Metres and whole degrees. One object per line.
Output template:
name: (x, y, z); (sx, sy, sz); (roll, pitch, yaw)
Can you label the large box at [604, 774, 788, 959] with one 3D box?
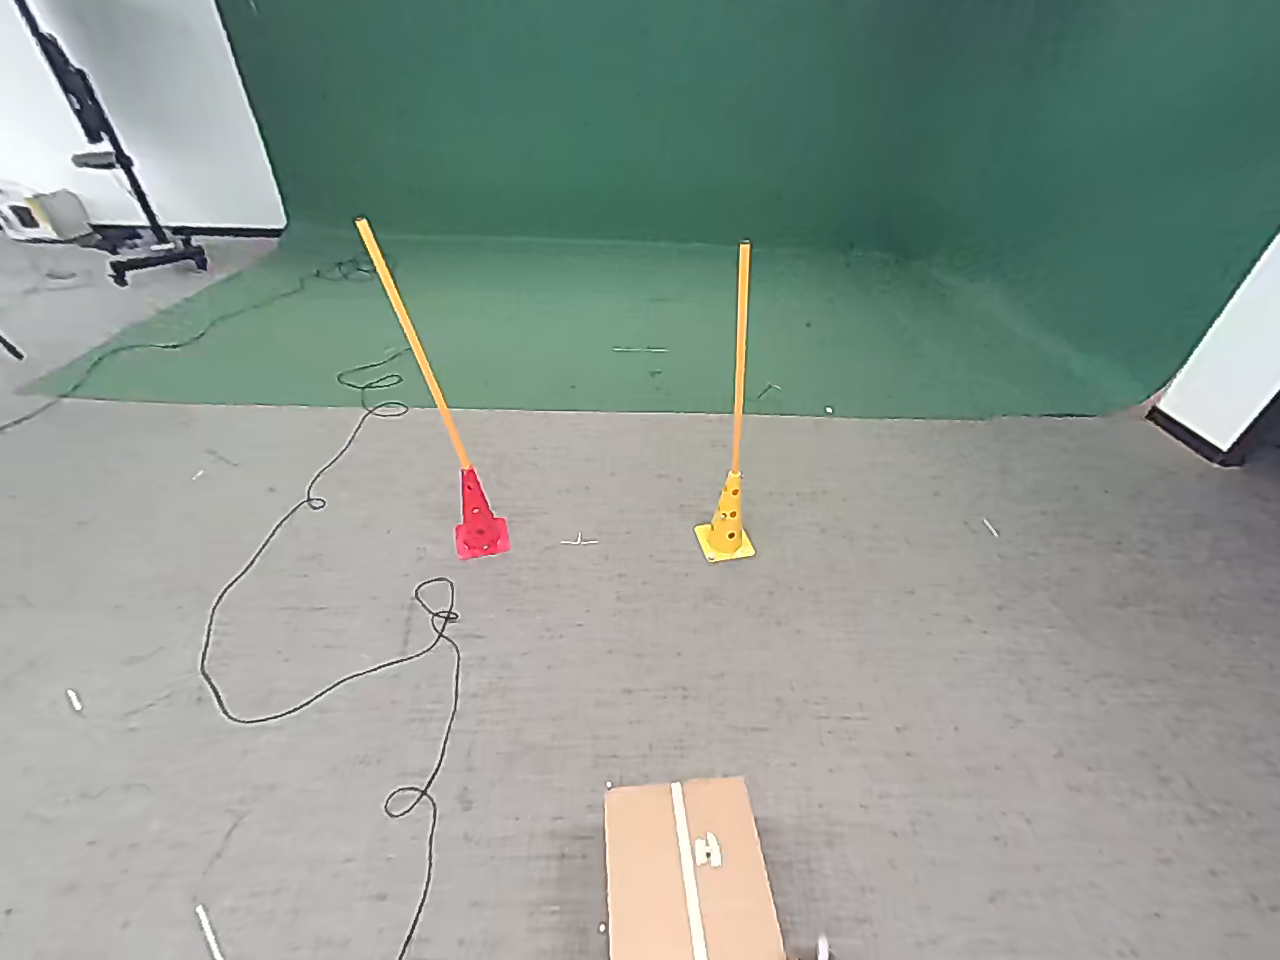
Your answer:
large box: (0.093, 0.899, 1.119); (0.320, 0.320, 0.408); (-1, 37, -5)
